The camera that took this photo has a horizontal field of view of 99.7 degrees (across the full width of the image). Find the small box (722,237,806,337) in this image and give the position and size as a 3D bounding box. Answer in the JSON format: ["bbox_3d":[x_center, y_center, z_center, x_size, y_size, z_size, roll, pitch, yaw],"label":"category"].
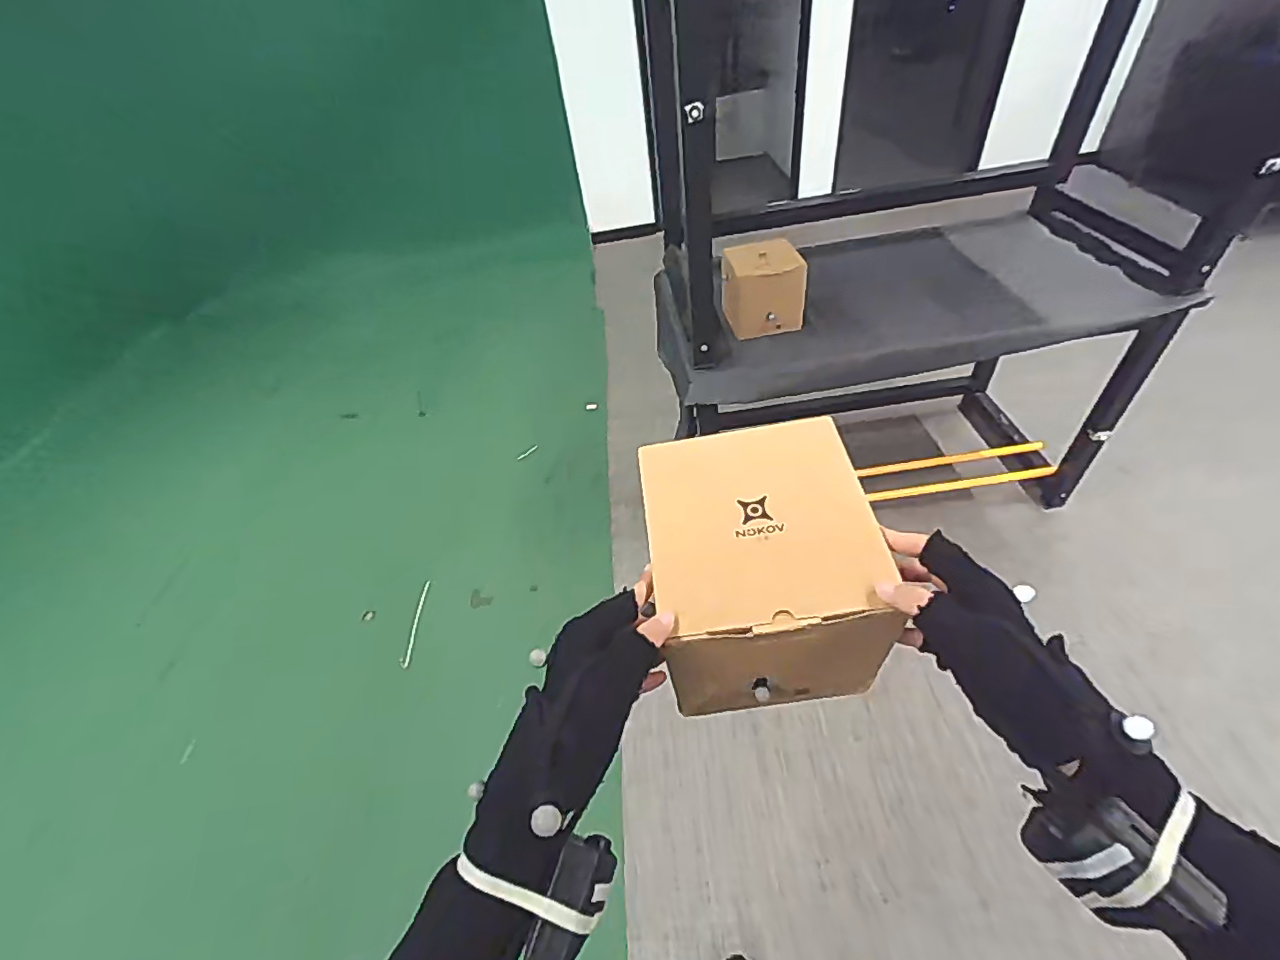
[{"bbox_3d":[0.304,-0.485,1.364,0.168,0.176,0.179,-10,45,1],"label":"small box"}]
